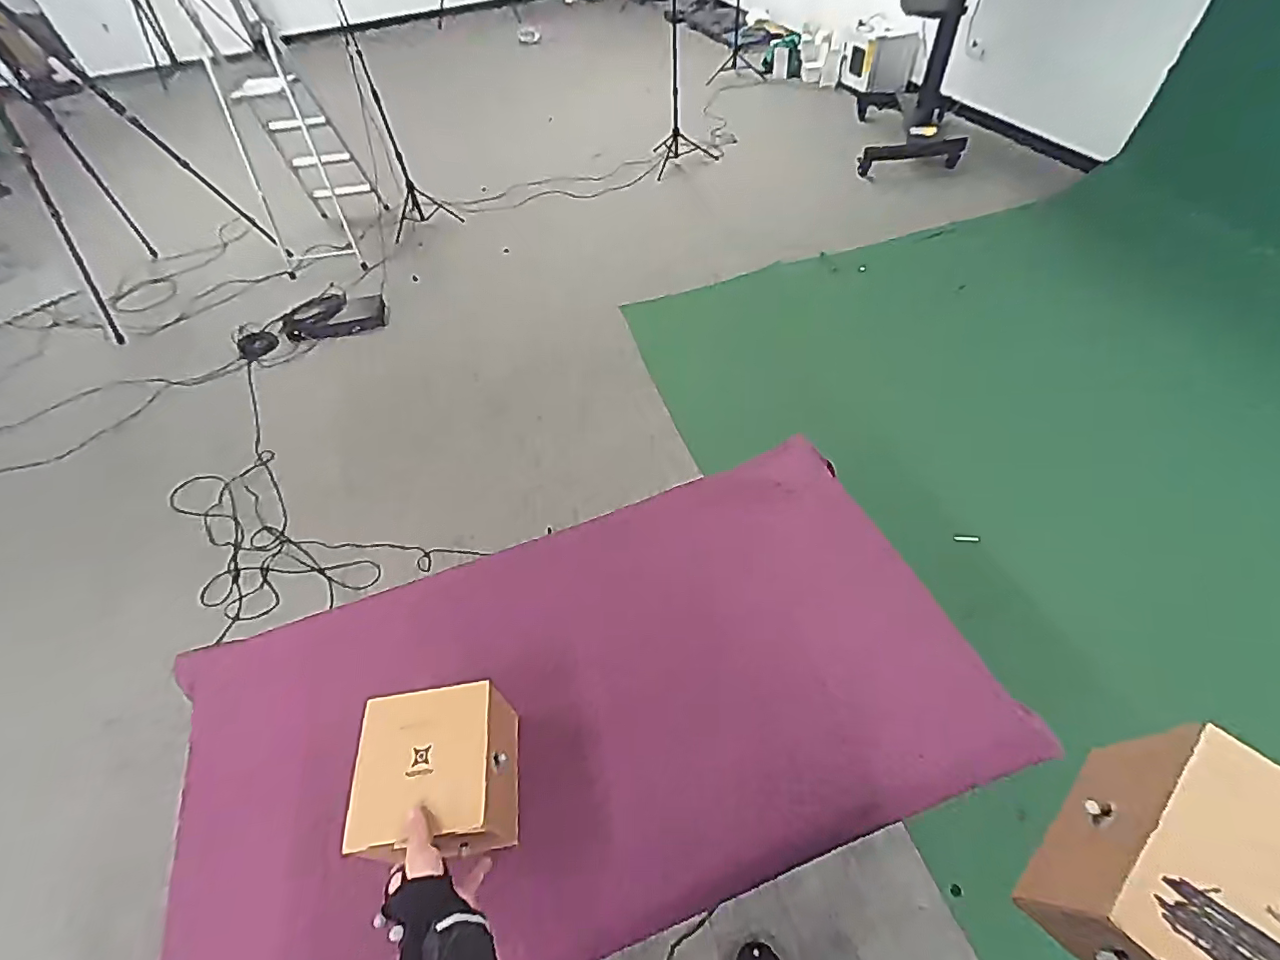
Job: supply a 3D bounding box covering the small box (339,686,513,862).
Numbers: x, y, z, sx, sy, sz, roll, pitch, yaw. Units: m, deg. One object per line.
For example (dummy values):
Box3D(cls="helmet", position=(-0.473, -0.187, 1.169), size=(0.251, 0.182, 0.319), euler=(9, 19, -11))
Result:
Box3D(cls="small box", position=(-0.272, 0.404, 0.736), size=(0.168, 0.176, 0.179), euler=(-7, 51, -3))
